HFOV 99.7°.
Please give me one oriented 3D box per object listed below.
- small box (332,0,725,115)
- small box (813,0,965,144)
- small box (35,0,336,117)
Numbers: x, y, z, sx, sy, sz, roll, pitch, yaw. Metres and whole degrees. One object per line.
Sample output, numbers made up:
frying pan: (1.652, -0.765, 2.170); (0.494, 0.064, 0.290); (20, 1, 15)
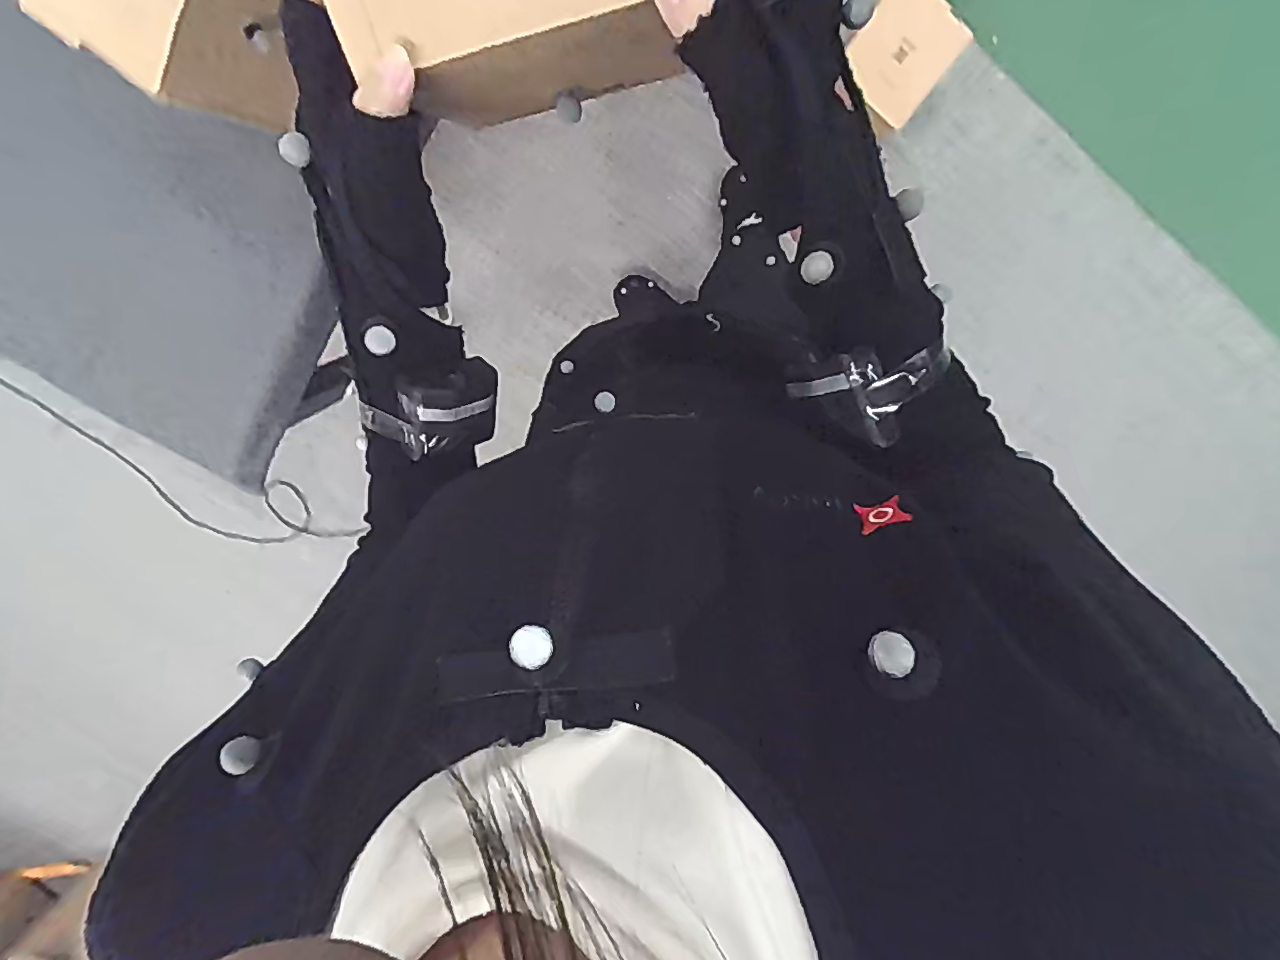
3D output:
small box: (-0.055, -0.301, 0.258); (0.168, 0.176, 0.179); (-7, 118, 7)
small box: (0.454, -0.775, 1.020); (0.168, 0.176, 0.179); (35, 114, -11)
small box: (-0.366, -0.430, 0.424); (0.168, 0.176, 0.179); (37, 112, -12)
